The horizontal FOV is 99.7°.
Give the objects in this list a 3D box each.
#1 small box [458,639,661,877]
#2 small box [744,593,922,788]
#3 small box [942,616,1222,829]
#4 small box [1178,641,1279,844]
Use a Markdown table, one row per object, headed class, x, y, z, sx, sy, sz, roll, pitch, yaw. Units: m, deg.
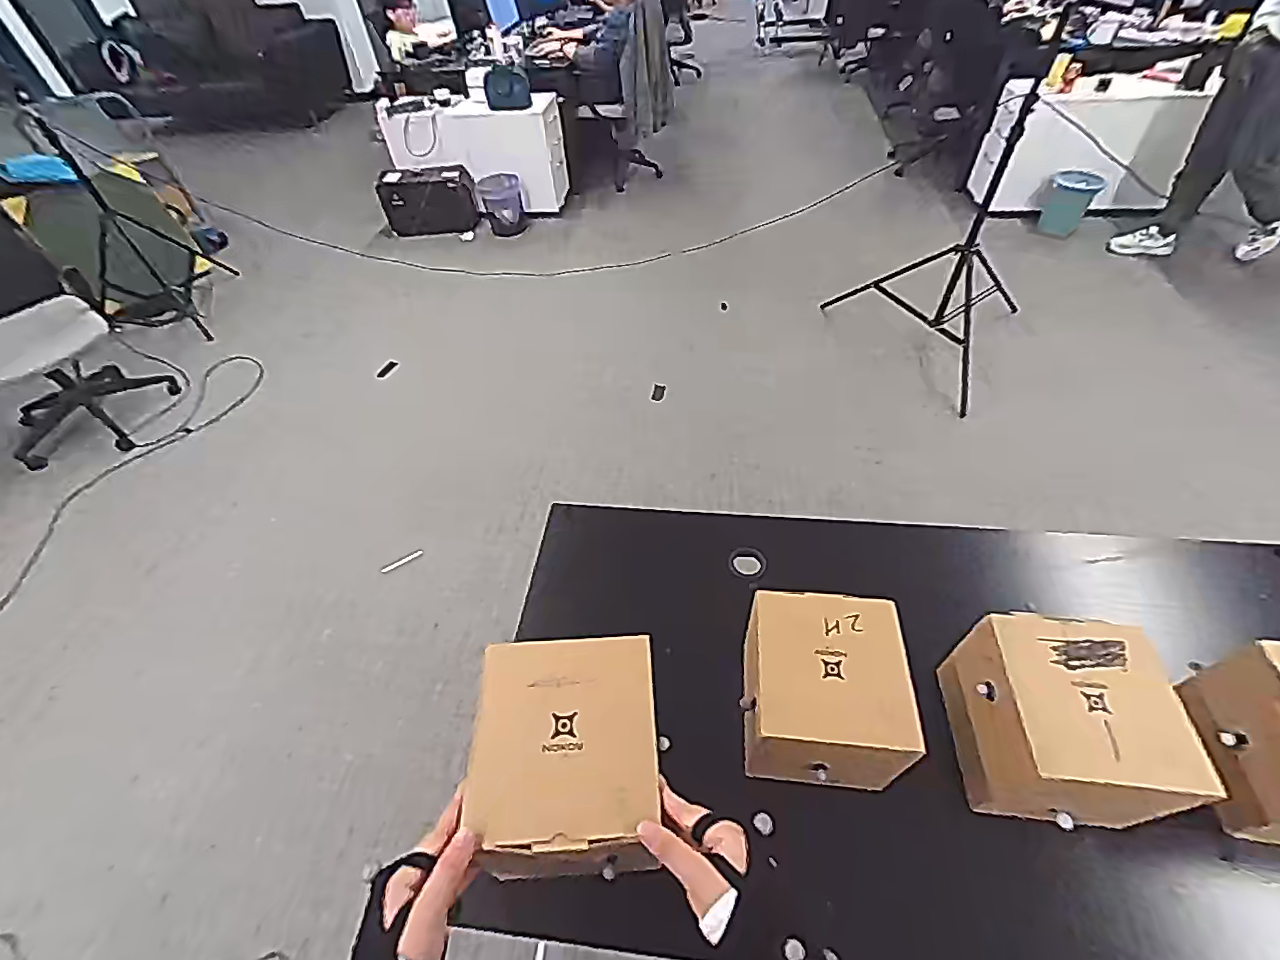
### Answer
| class | x | y | z | sx | sy | sz | roll | pitch | yaw |
| --- | --- | --- | --- | --- | --- | --- | --- | --- | --- |
| small box | -0.066 | 0.282 | 0.543 | 0.168 | 0.176 | 0.179 | -3 | 47 | -2 |
| small box | 0.220 | 0.262 | 0.668 | 0.168 | 0.176 | 0.179 | 3 | 48 | 6 |
| small box | 0.481 | 0.282 | 0.631 | 0.168 | 0.176 | 0.179 | 3 | 49 | 7 |
| small box | 0.760 | 0.299 | 0.596 | 0.179 | 0.176 | 0.168 | 4 | 48 | 9 |
